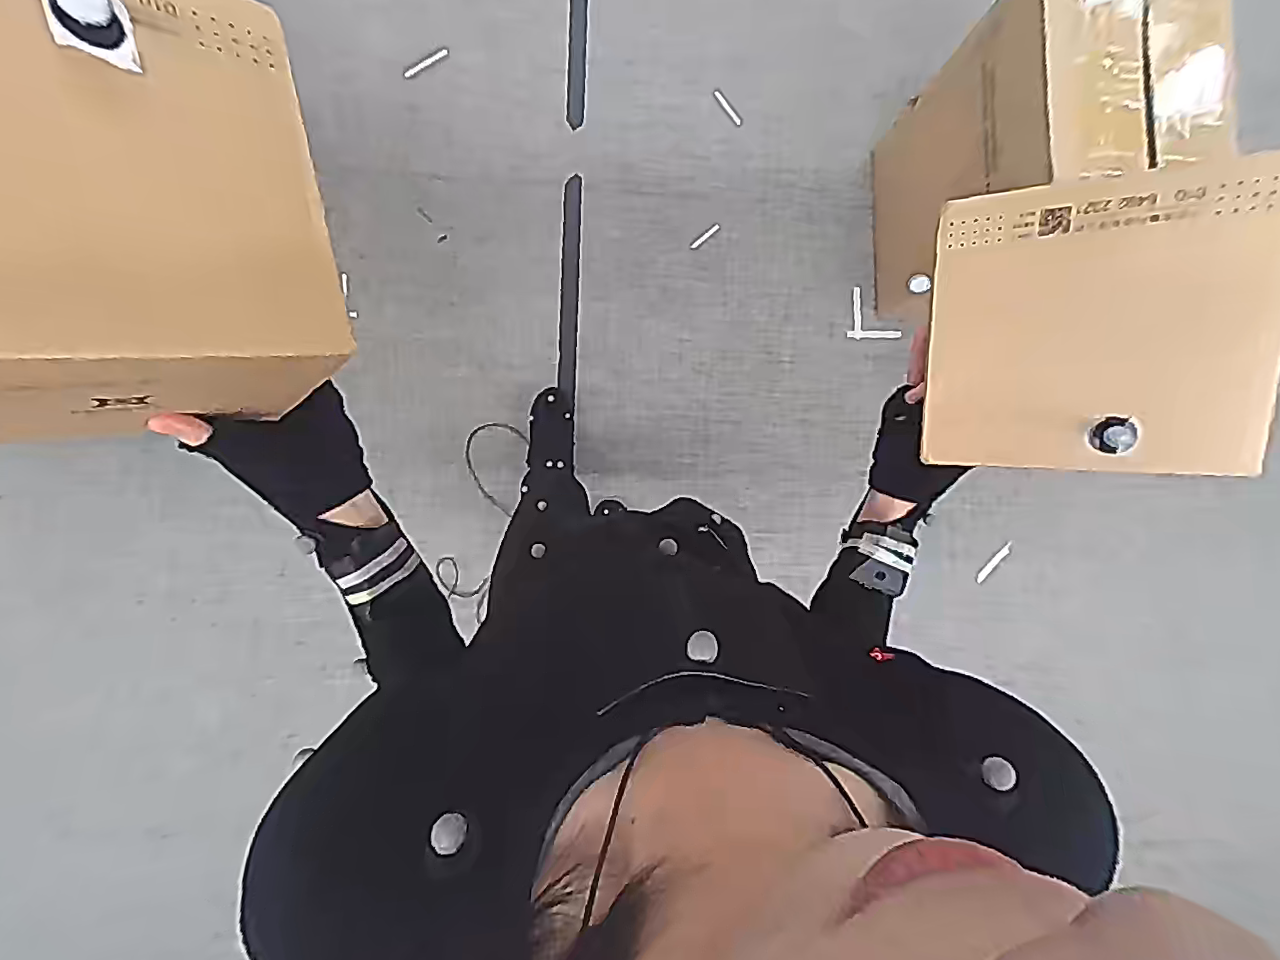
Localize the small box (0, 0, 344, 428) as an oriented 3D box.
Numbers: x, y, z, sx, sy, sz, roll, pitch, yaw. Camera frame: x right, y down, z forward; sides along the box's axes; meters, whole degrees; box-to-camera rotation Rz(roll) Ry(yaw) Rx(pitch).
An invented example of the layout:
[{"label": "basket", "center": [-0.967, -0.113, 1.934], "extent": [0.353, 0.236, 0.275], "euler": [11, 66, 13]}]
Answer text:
[{"label": "small box", "center": [-0.269, -0.125, 0.258], "extent": [0.168, 0.179, 0.176], "euler": [-15, 94, -43]}]

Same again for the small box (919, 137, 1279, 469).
[{"label": "small box", "center": [0.297, -0.111, 0.379], "extent": [0.168, 0.179, 0.176], "euler": [4, 104, 29]}]
